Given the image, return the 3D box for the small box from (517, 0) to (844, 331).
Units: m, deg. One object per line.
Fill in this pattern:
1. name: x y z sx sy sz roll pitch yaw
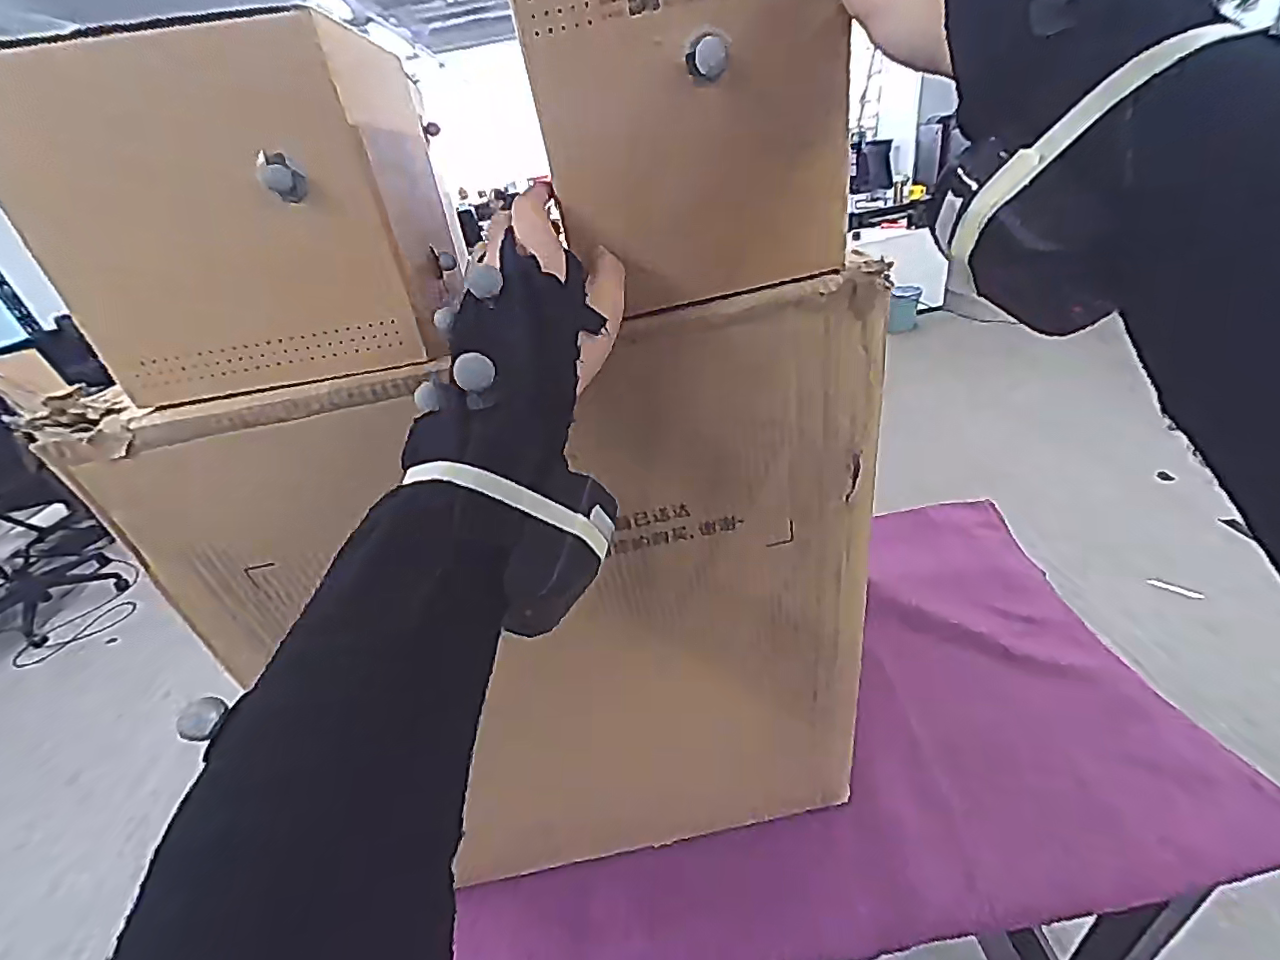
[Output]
1. small box: 0.024 -0.219 0.358 0.168 0.176 0.179 -13 31 -1
